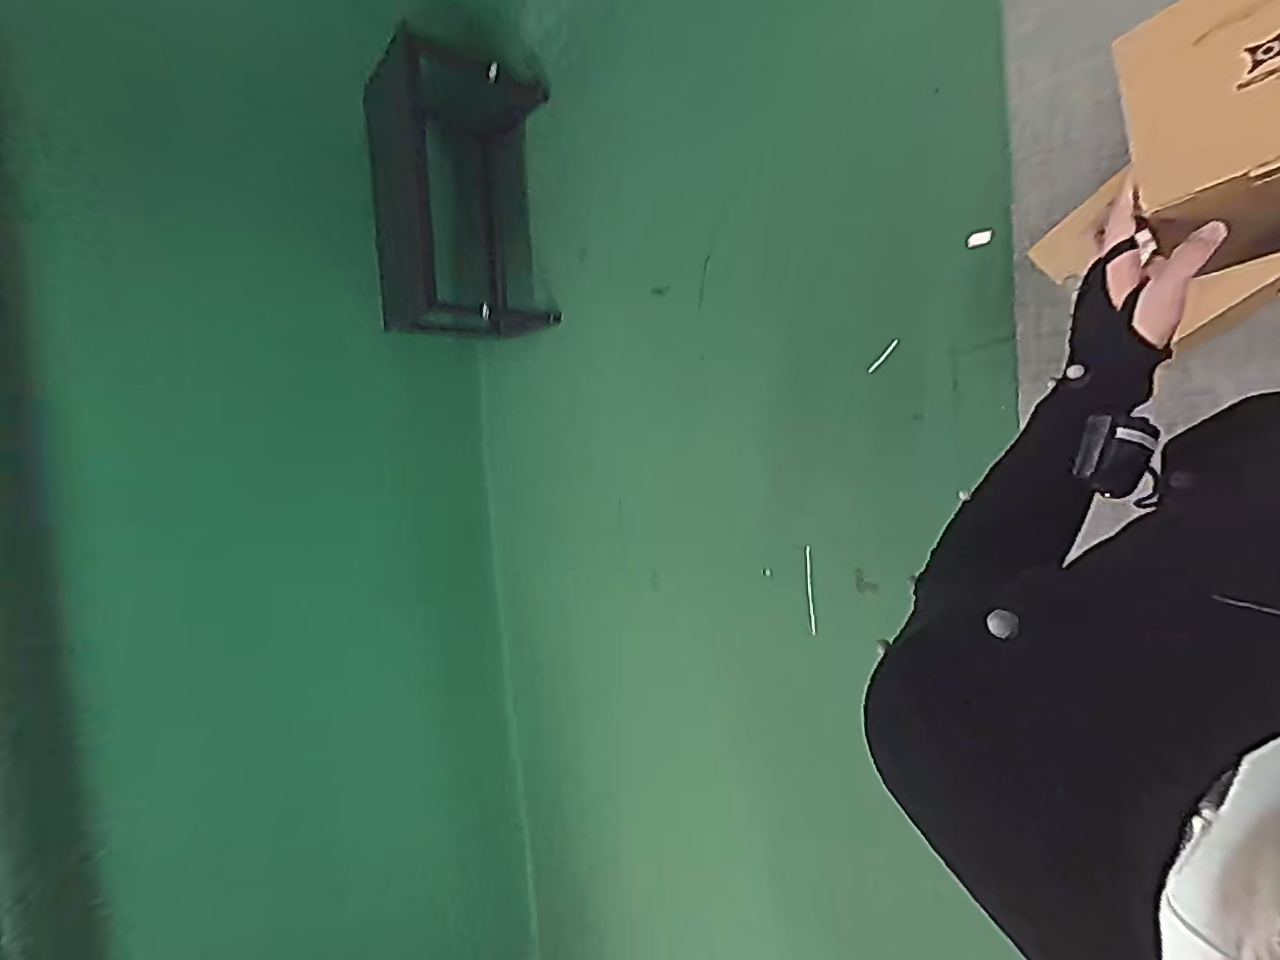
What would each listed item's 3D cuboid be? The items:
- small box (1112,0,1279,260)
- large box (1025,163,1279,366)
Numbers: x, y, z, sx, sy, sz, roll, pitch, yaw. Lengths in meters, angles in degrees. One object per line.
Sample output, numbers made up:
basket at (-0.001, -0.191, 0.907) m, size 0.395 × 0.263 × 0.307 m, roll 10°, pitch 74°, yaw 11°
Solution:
small box at (0.529, -0.310, 0.451) m, size 0.168 × 0.176 × 0.179 m, roll -11°, pitch 75°, yaw 50°
large box at (1.067, -0.468, 1.027) m, size 0.408 × 0.320 × 0.320 m, roll -50°, pitch 59°, yaw 41°
